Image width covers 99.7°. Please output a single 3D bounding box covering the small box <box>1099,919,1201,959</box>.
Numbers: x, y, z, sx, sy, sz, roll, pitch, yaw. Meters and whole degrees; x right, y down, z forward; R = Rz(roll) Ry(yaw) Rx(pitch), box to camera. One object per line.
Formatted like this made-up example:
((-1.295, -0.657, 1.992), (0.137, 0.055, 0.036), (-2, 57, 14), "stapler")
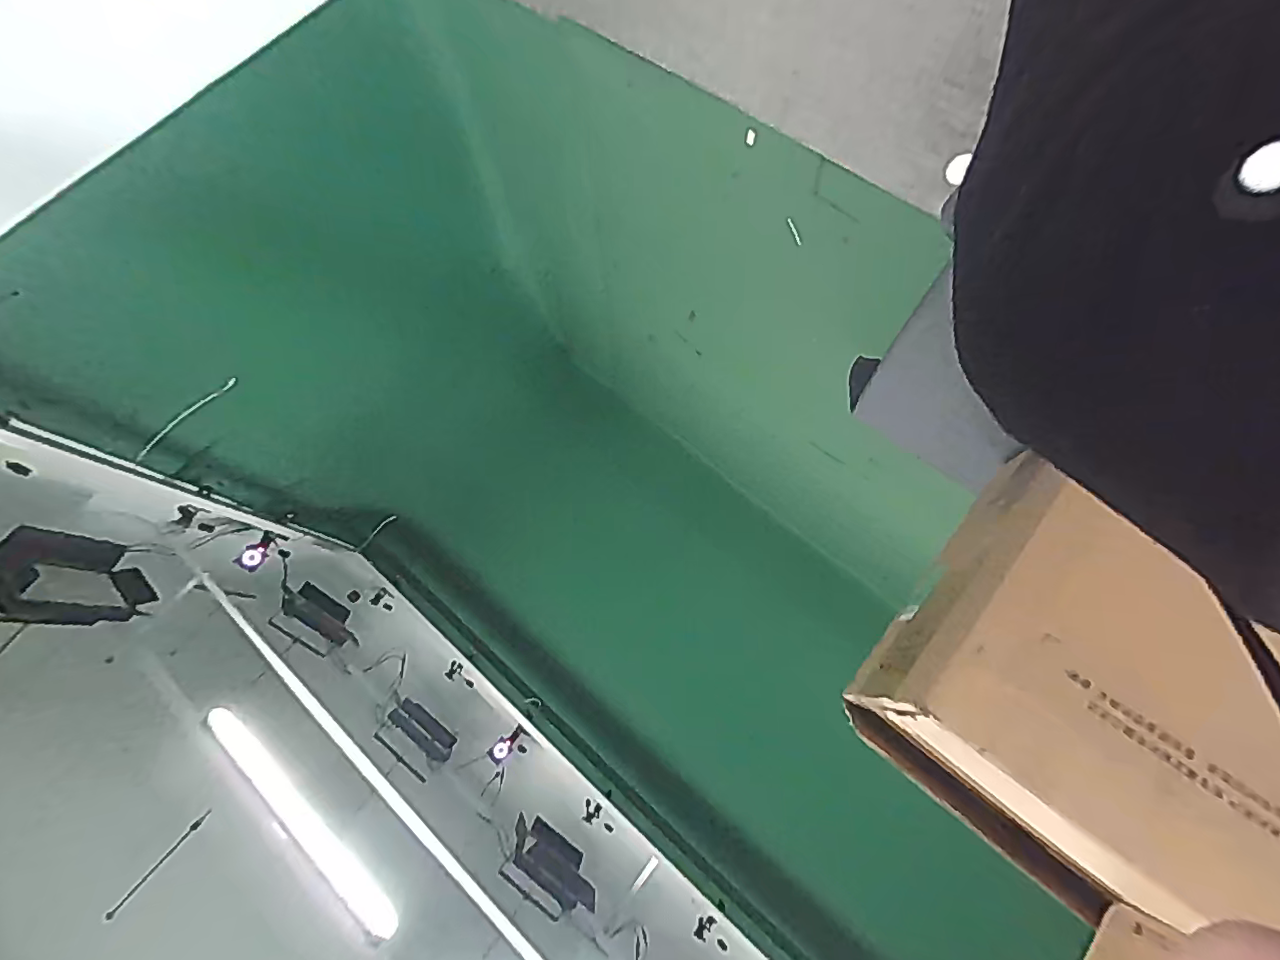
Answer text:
((0.661, 0.671, 0.619), (0.179, 0.176, 0.168), (35, 164, 18), "small box")
